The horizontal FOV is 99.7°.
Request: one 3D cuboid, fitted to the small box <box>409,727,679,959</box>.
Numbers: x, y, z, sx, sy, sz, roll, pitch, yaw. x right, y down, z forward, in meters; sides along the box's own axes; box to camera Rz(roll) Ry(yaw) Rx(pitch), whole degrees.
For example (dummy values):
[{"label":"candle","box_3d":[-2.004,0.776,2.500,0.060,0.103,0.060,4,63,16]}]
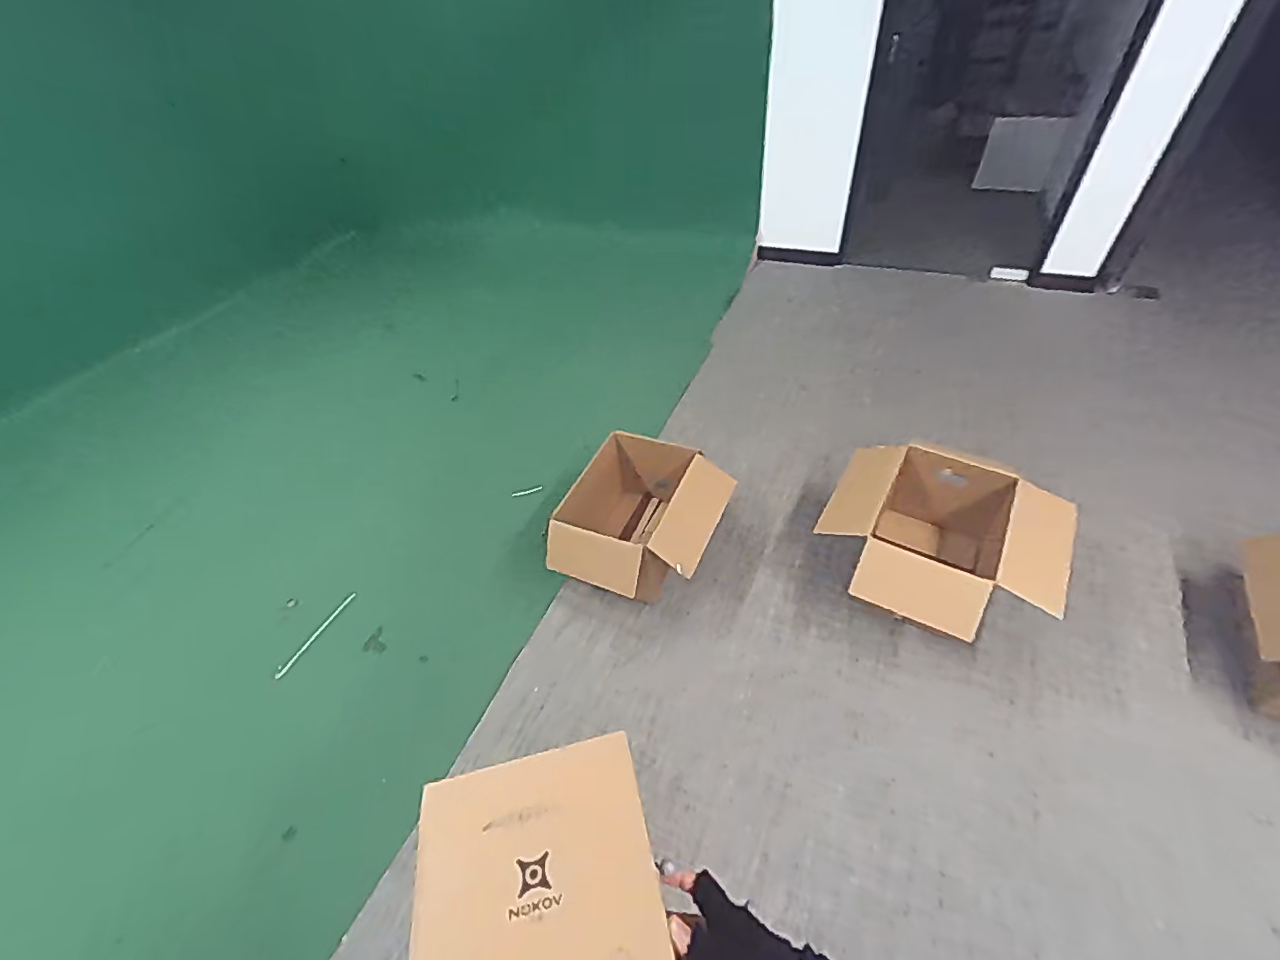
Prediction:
[{"label":"small box","box_3d":[-0.064,0.332,0.417,0.168,0.176,0.179,-12,39,-8]}]
